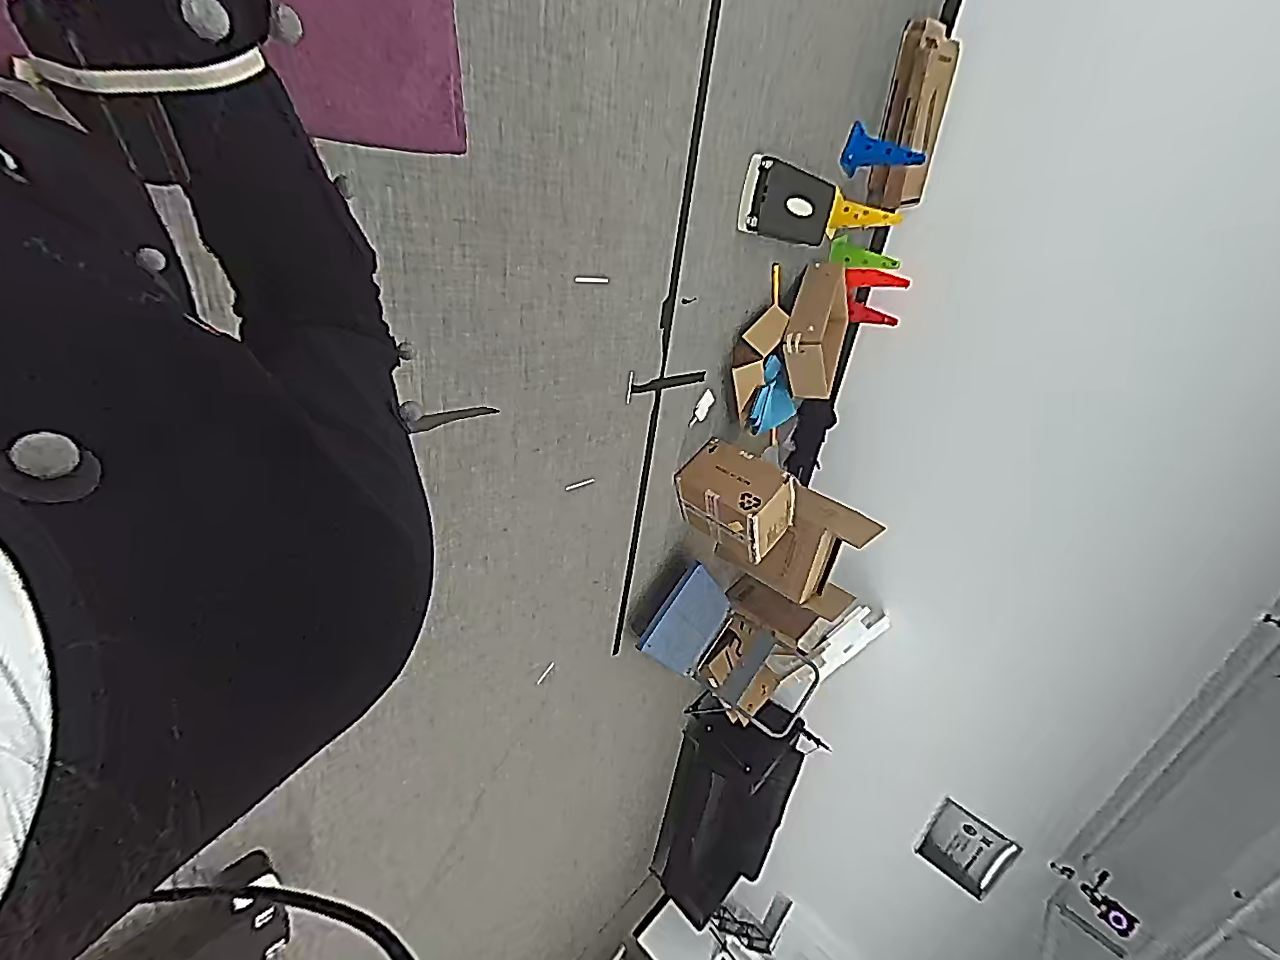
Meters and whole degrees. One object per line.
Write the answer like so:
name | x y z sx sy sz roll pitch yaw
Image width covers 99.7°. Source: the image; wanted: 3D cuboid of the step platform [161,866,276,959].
step platform | -1.429 1.463 1.511 0.684 0.204 0.286 -22 130 -46
